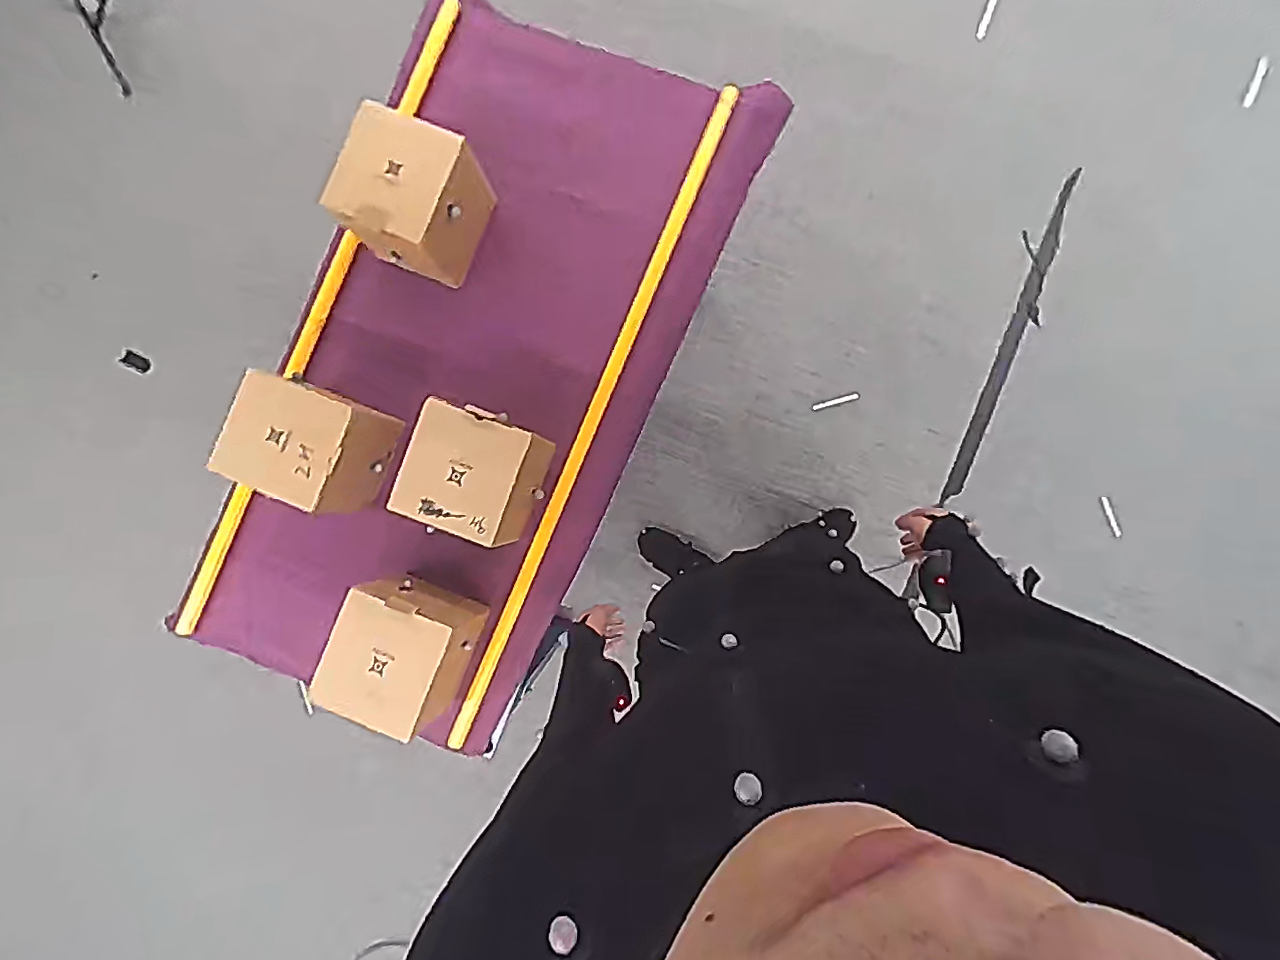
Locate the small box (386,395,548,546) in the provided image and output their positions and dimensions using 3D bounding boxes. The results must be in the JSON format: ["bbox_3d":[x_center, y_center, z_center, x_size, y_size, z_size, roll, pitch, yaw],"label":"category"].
[{"bbox_3d":[-0.257,-0.011,0.852,0.168,0.176,0.179,21,88,4],"label":"small box"}]

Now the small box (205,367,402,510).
[{"bbox_3d":[-0.524,-0.058,0.867,0.179,0.176,0.168,22,89,2],"label":"small box"}]

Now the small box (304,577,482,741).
[{"bbox_3d":[-0.368,0.263,0.845,0.168,0.176,0.179,21,87,4],"label":"small box"}]

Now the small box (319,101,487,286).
[{"bbox_3d":[-0.367,-0.450,0.876,0.168,0.176,0.179,22,89,2],"label":"small box"}]
